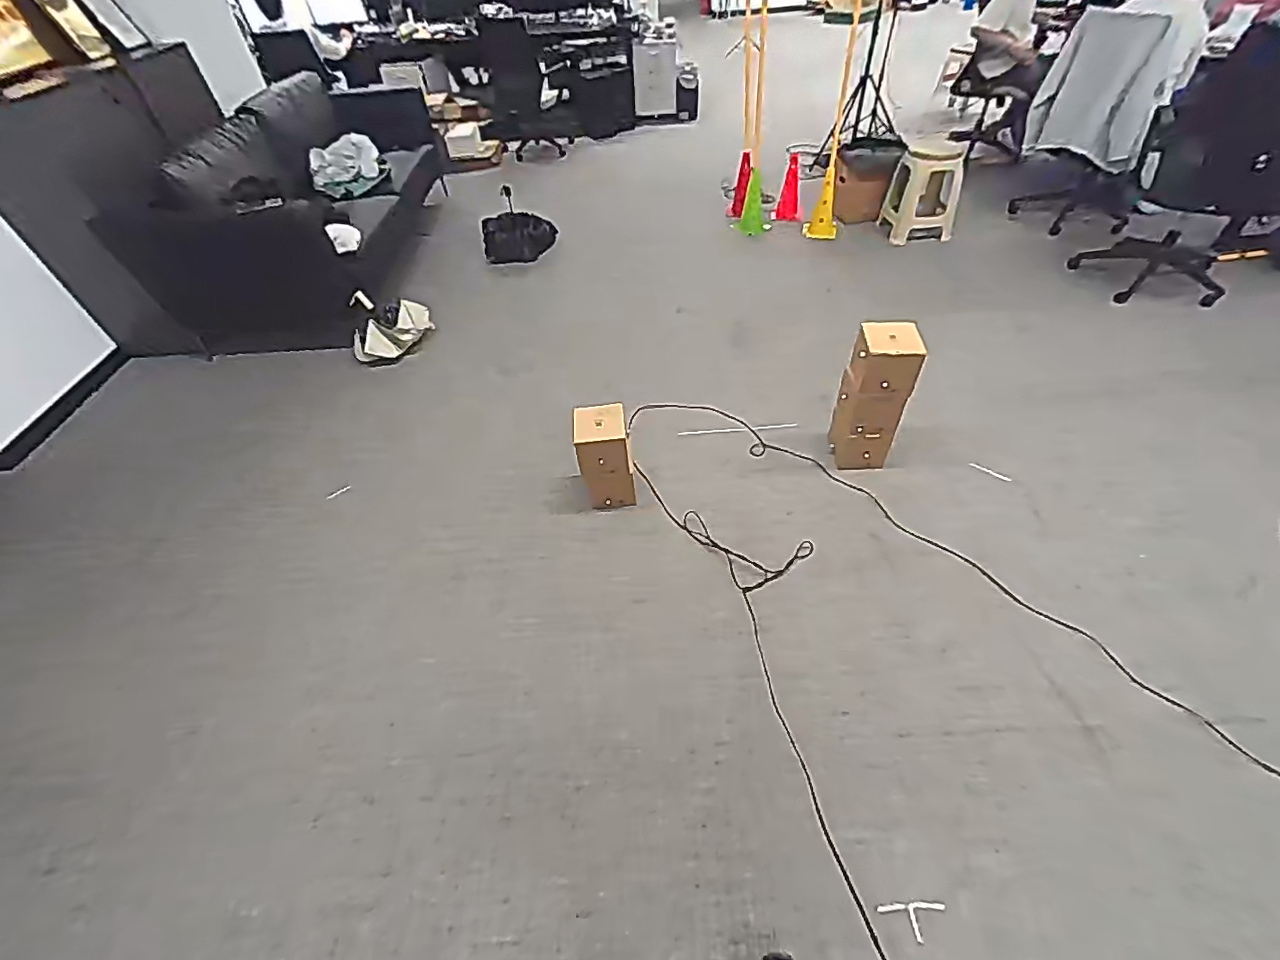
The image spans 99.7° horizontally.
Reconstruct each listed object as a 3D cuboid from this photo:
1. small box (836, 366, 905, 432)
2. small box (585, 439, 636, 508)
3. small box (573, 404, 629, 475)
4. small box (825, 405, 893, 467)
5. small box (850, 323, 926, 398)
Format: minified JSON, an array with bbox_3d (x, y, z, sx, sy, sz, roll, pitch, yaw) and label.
[{"bbox_3d":[0.792,-0.277,1.865,0.168,0.176,0.179,-2,46,3],"label":"small box"},{"bbox_3d":[-0.106,-0.022,1.937,0.168,0.176,0.179,-6,48,0],"label":"small box"},{"bbox_3d":[-0.128,-0.129,1.814,0.168,0.176,0.179,-6,47,0],"label":"small box"},{"bbox_3d":[0.798,-0.161,1.985,0.168,0.176,0.179,-3,49,-1],"label":"small box"},{"bbox_3d":[0.790,-0.386,1.744,0.168,0.176,0.179,2,48,6],"label":"small box"}]
